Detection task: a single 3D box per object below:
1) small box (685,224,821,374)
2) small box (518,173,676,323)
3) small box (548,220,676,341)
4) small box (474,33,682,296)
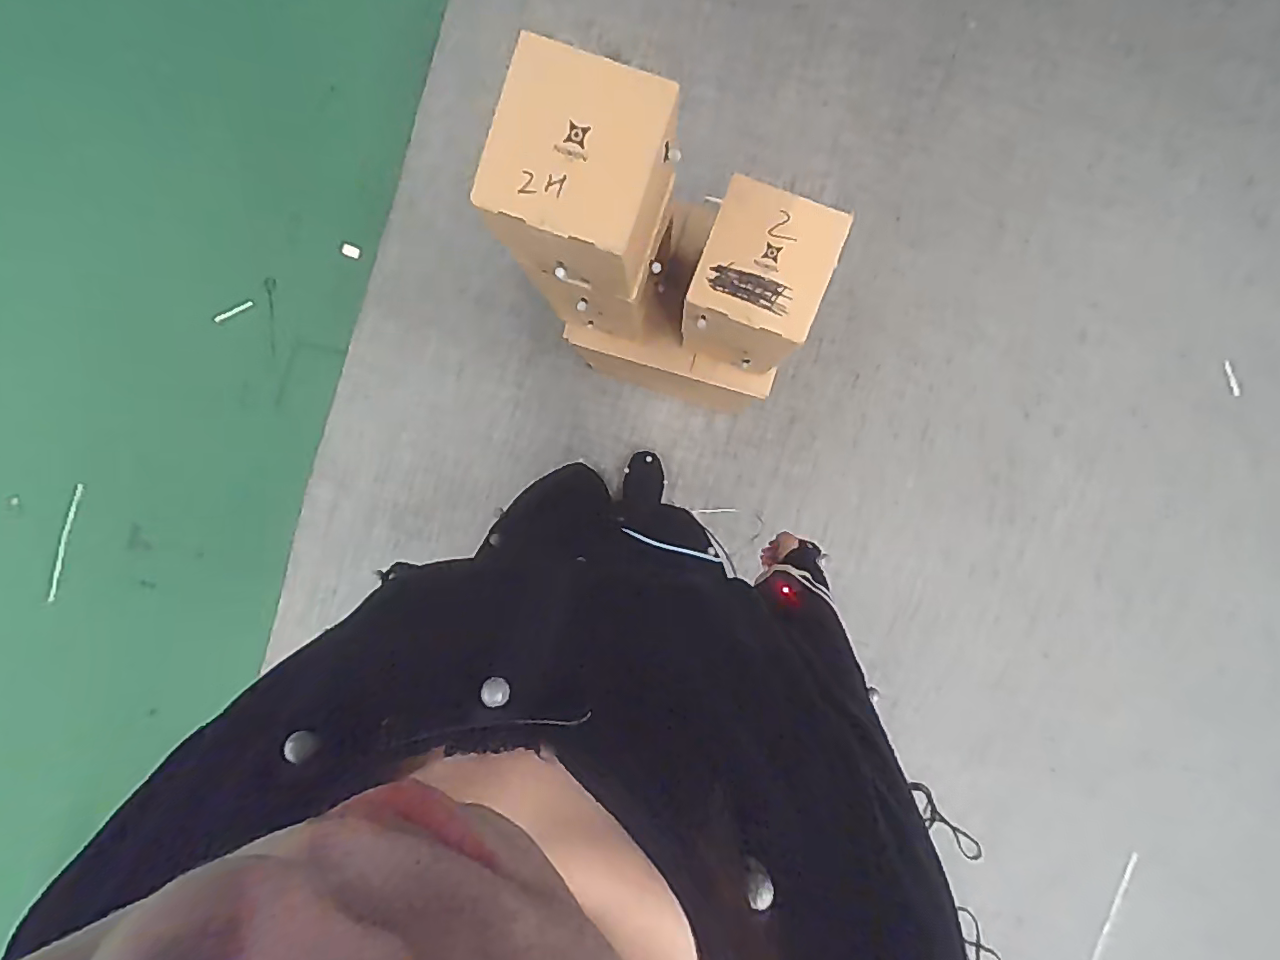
[{"bbox_3d":[0.184,-0.298,0.934,0.168,0.176,0.179,21,93,2],"label":"small box"},{"bbox_3d":[-0.053,-0.344,0.778,0.168,0.176,0.179,19,95,0],"label":"small box"},{"bbox_3d":[-0.045,-0.361,0.941,0.168,0.176,0.179,18,95,0],"label":"small box"},{"bbox_3d":[-0.061,-0.336,0.613,0.168,0.176,0.179,20,95,1],"label":"small box"}]
